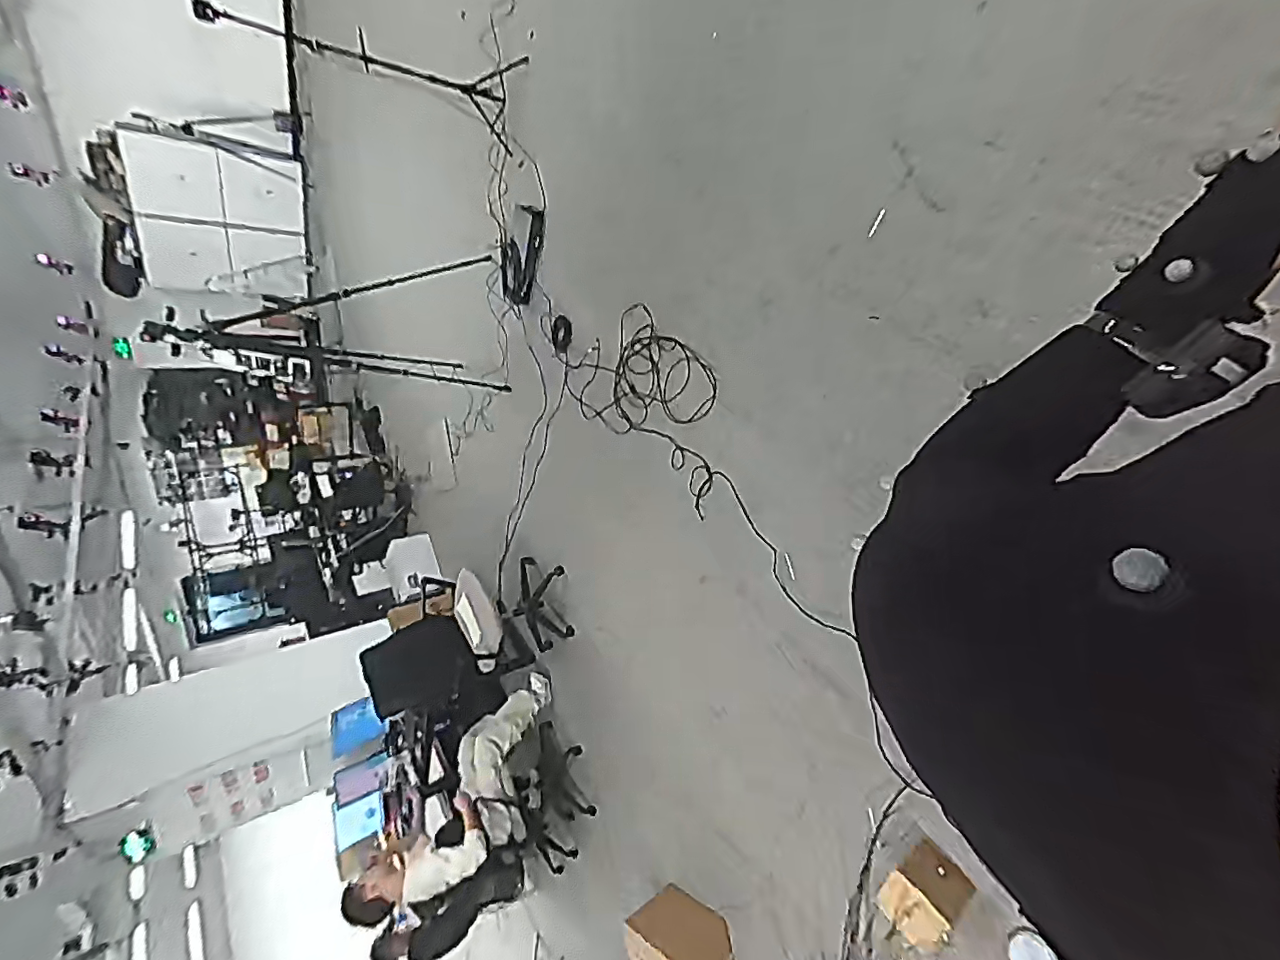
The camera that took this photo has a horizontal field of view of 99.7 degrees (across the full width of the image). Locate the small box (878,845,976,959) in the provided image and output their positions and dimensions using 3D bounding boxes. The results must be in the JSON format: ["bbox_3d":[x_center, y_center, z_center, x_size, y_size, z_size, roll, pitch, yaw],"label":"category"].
[{"bbox_3d":[0.836,1.222,1.572,0.168,0.176,0.179,38,125,41],"label":"small box"}]
